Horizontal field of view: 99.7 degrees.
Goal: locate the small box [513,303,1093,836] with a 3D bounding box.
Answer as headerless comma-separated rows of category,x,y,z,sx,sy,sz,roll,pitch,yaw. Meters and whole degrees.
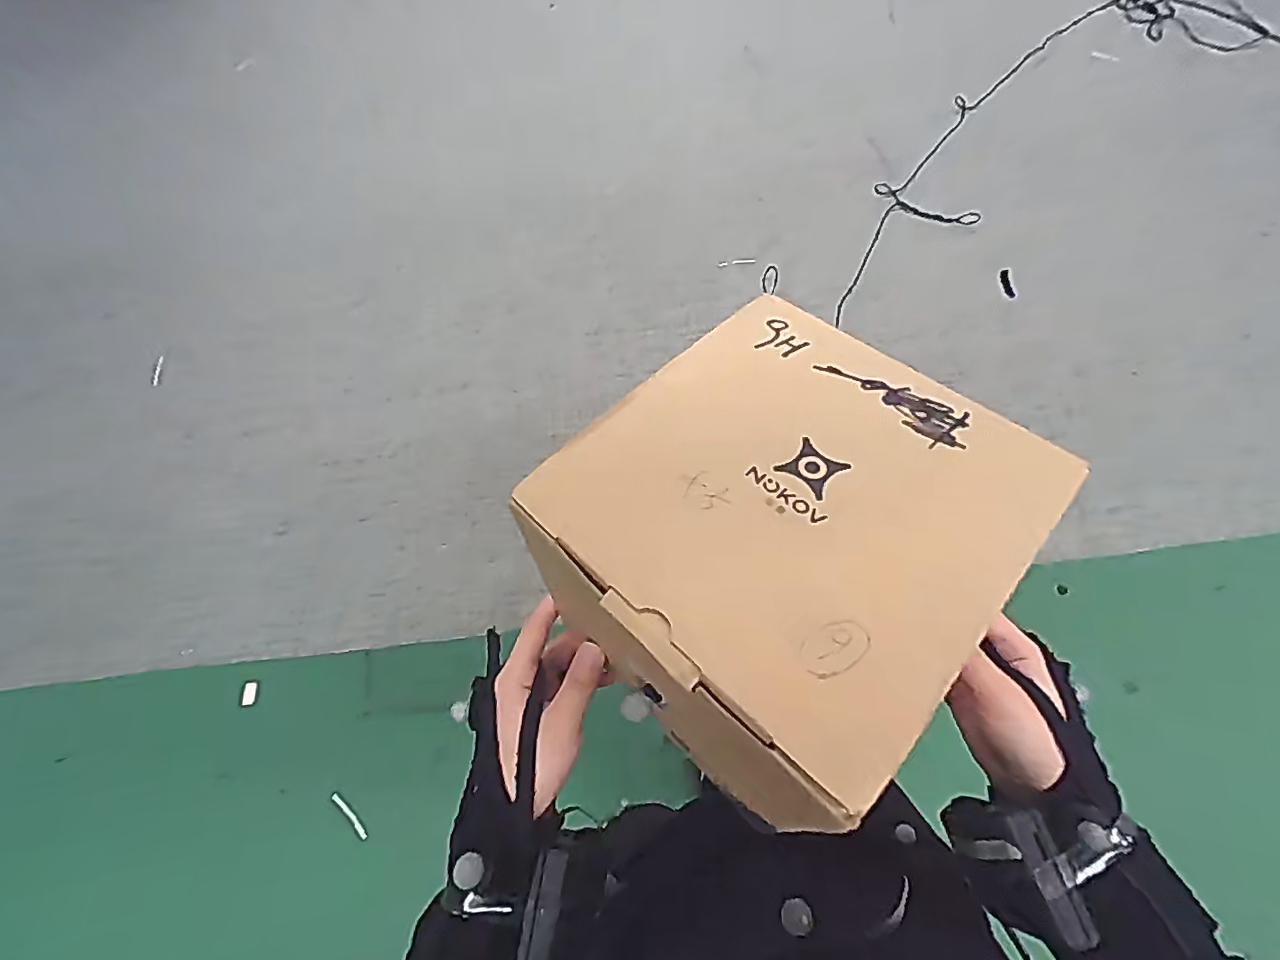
small box,0.068,0.050,0.284,0.179,0.176,0.168,-40,63,-21
